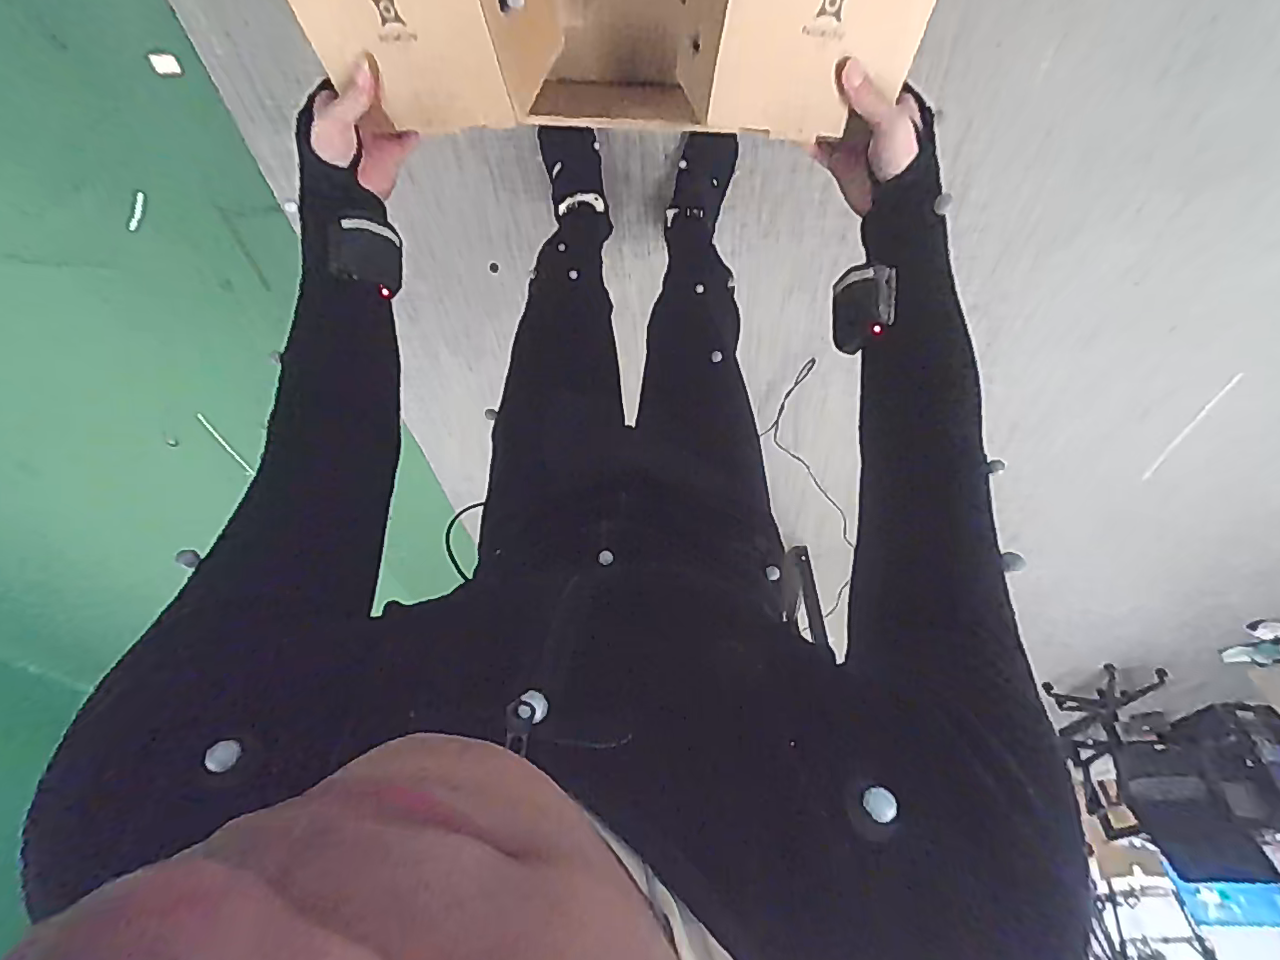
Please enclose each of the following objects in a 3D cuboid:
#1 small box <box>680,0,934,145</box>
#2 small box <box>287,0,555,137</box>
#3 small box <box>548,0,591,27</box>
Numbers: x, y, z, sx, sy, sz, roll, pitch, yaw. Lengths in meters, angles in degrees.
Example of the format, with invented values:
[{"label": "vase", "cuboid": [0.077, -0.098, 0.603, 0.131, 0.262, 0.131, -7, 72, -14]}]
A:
[{"label": "small box", "cuboid": [0.135, -0.419, 0.462, 0.168, 0.176, 0.179, 0, 138, -9]}, {"label": "small box", "cuboid": [-0.188, -0.438, 0.472, 0.168, 0.176, 0.179, 4, 150, 11]}, {"label": "small box", "cuboid": [-0.139, -0.625, 0.592, 0.179, 0.176, 0.168, 5, 138, -2]}]
